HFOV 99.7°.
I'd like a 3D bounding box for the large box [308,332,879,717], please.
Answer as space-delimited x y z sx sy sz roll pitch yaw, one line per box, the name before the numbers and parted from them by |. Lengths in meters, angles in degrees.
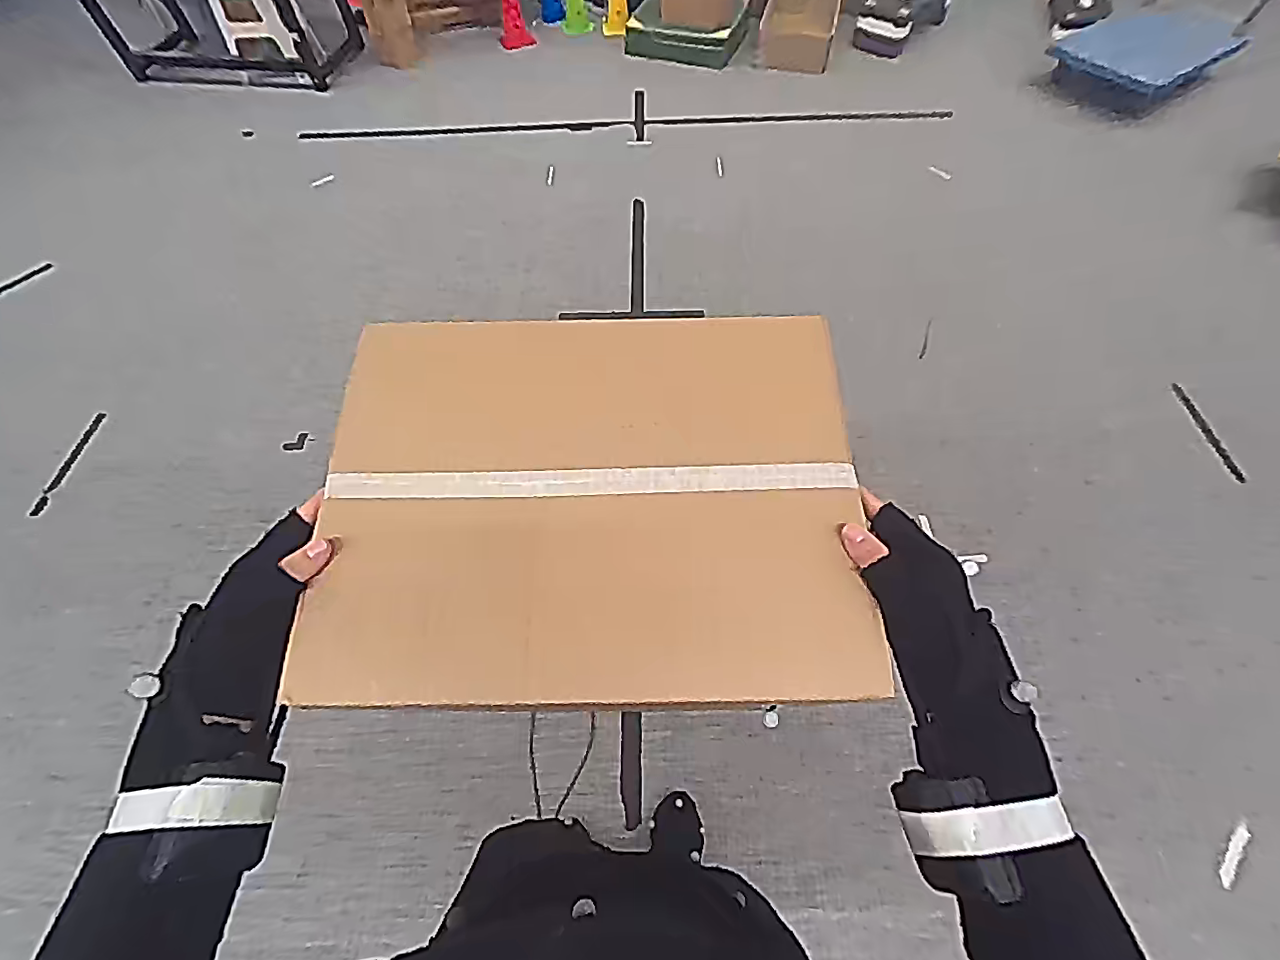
large box | -0.032 0.072 0.565 0.408 0.320 0.320 -1 66 1
